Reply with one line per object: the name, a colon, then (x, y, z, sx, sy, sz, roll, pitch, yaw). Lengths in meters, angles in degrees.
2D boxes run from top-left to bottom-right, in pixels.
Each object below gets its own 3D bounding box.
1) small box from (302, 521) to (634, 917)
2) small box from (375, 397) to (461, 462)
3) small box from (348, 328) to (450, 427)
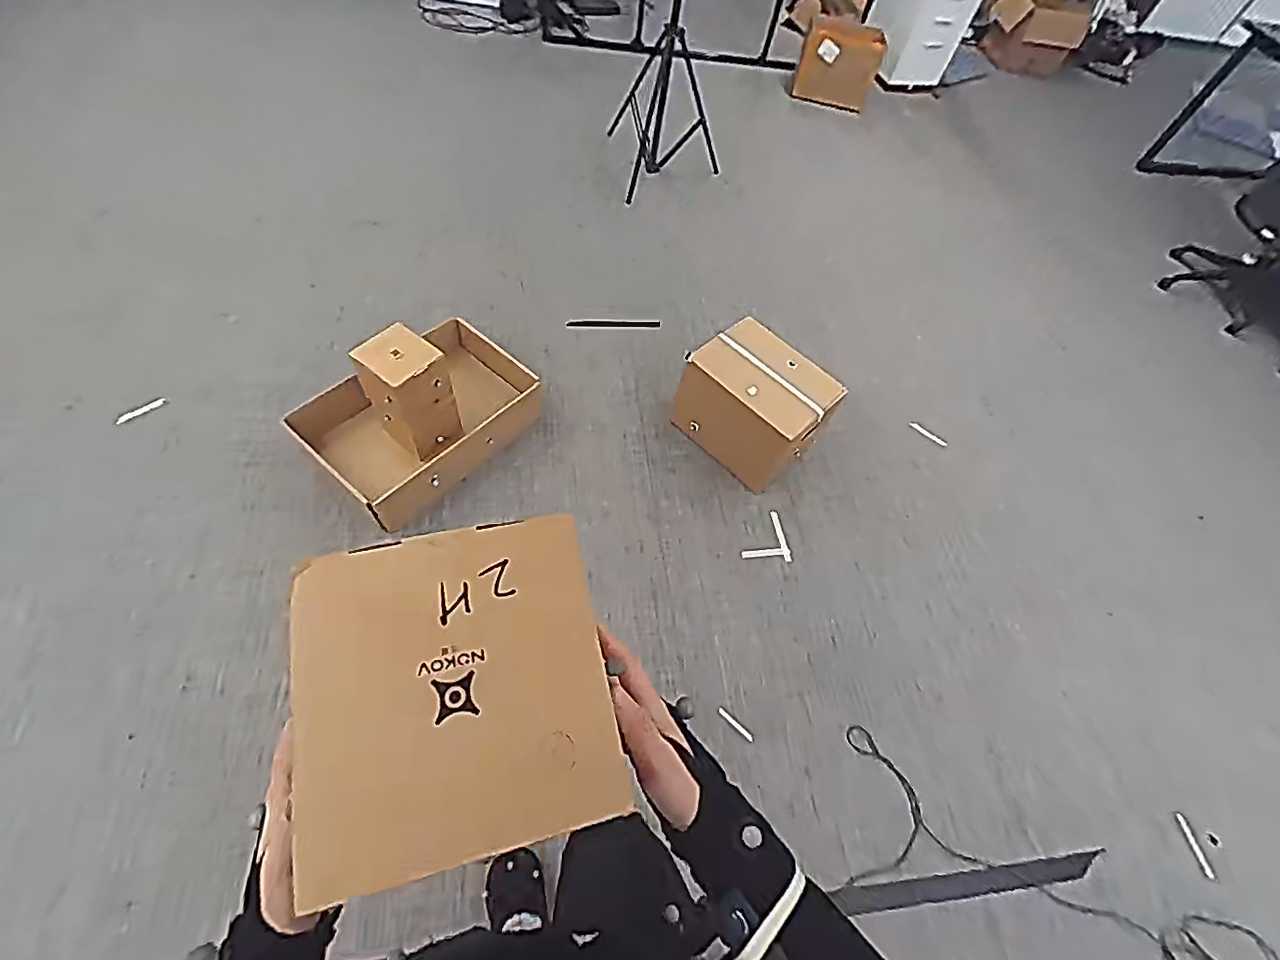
small box: (-0.110, 0.148, 0.375, 0.168, 0.176, 0.179, -10, 68, -14)
small box: (-0.660, -0.187, 1.607, 0.179, 0.176, 0.168, 38, 60, 14)
small box: (-0.644, -0.270, 1.469, 0.179, 0.176, 0.168, 33, 58, 13)
